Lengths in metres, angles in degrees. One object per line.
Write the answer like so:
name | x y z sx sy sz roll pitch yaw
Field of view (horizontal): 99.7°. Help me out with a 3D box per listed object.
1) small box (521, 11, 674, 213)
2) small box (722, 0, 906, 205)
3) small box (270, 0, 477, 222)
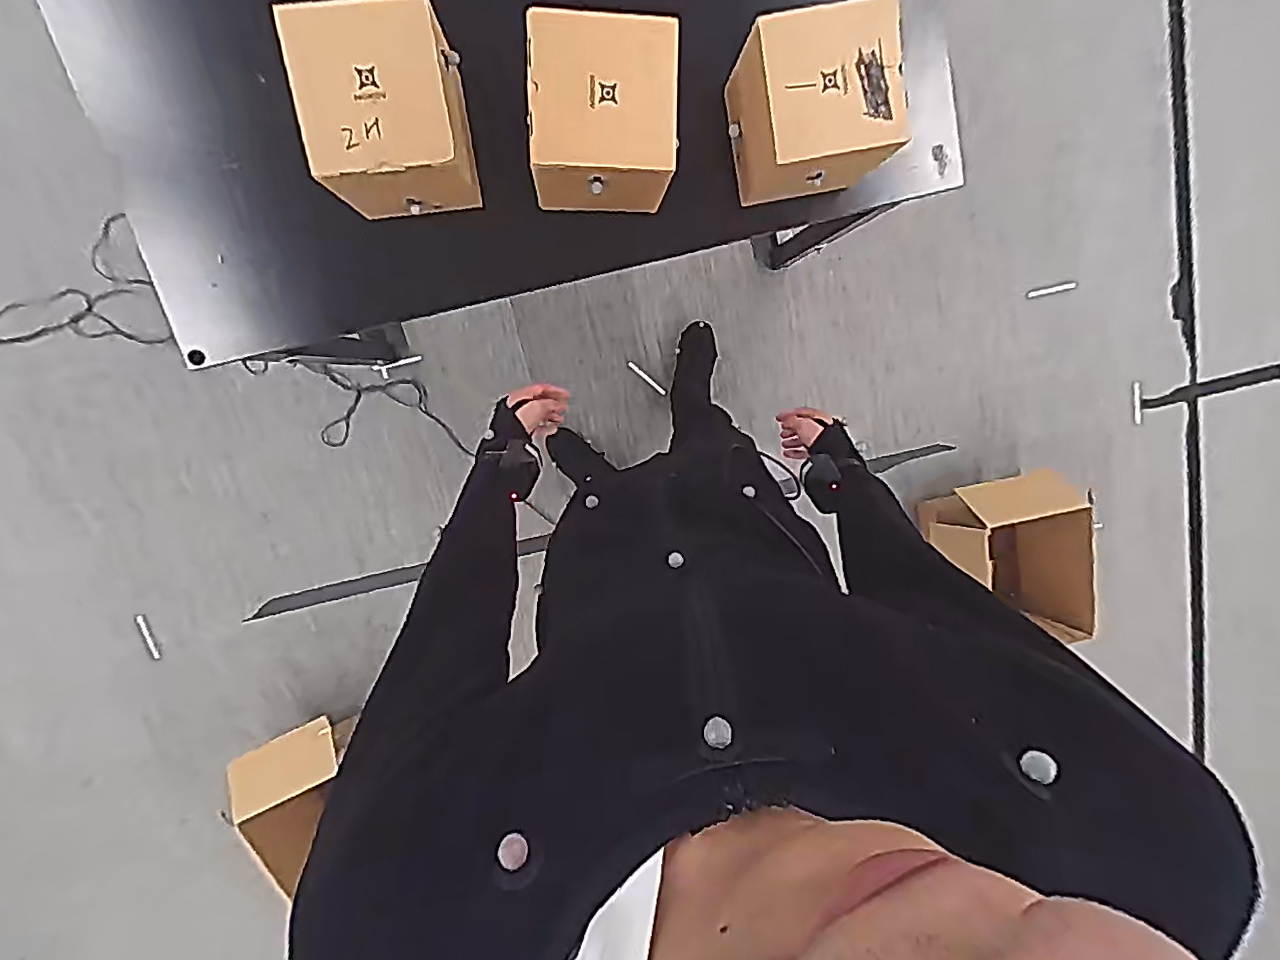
small box | -0.055 -0.462 0.707 0.179 0.176 0.168 -1 100 -4
small box | 0.223 -0.493 0.726 0.179 0.176 0.168 -12 101 -2
small box | -0.316 -0.448 0.681 0.168 0.176 0.179 -9 102 -3
